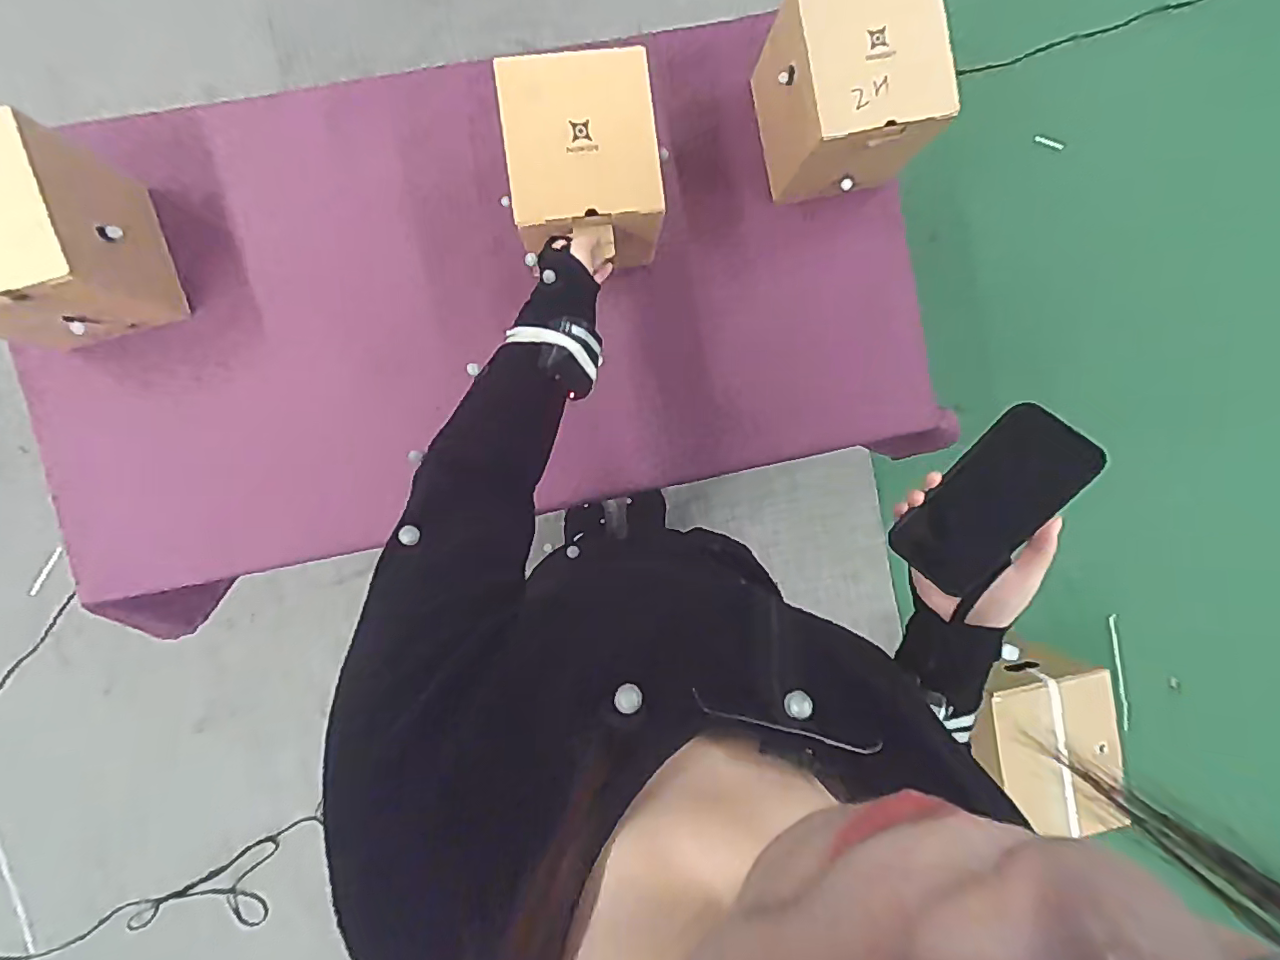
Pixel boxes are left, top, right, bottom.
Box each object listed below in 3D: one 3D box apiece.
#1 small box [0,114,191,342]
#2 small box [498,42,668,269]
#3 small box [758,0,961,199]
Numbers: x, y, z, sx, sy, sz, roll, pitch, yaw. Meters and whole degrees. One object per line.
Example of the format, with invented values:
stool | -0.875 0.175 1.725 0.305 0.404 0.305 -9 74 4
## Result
small box | -0.677 -0.267 0.622 0.168 0.176 0.179 -17 95 -4
small box | -0.067 -0.381 0.661 0.168 0.176 0.179 -9 94 -4
small box | 0.257 -0.486 0.674 0.168 0.176 0.179 -12 94 -2
